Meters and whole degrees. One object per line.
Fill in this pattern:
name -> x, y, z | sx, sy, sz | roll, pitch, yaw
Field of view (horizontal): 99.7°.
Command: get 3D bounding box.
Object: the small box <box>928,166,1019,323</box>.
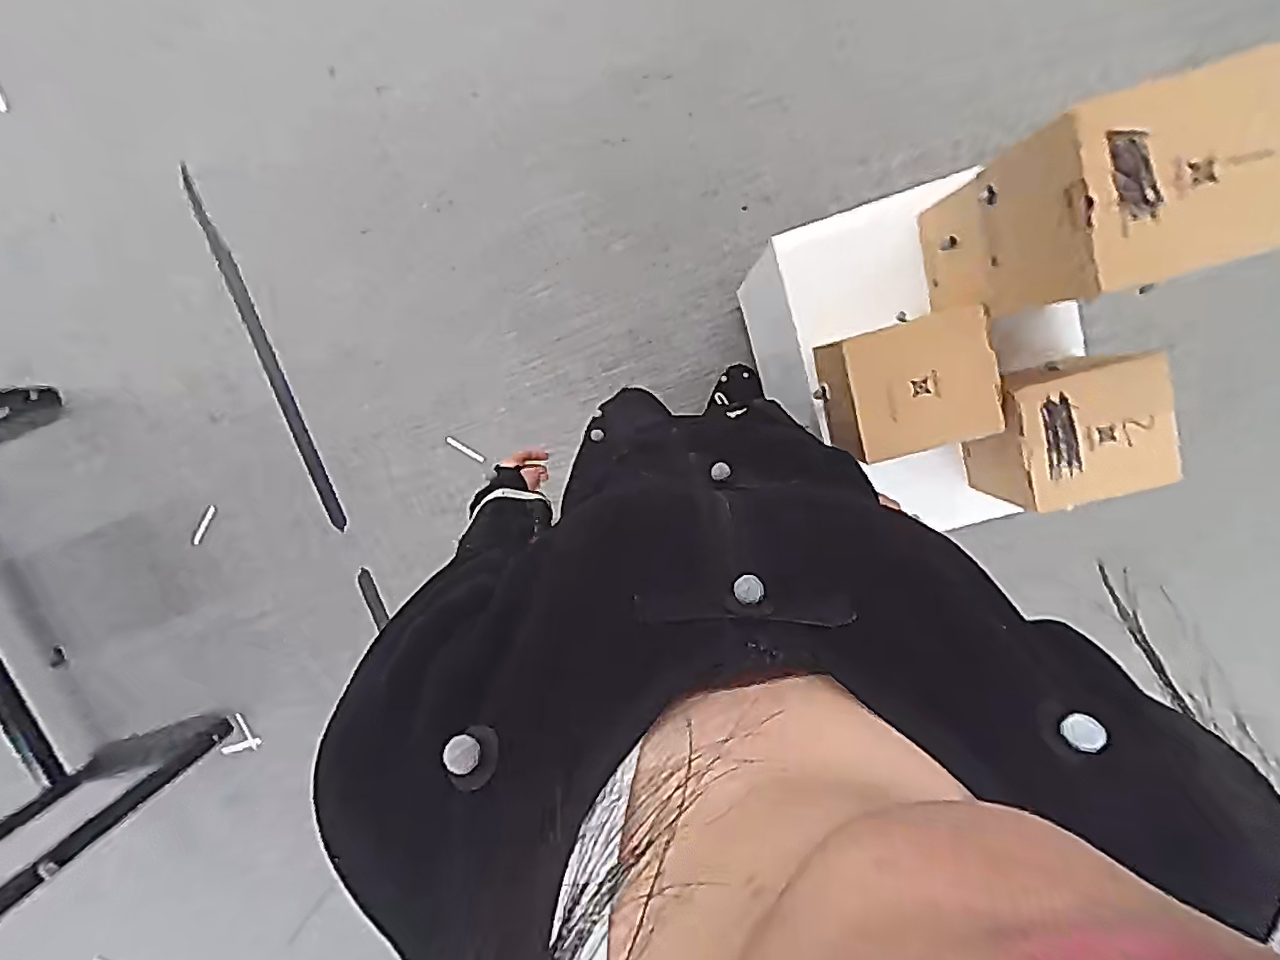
small box -> 0.498, -0.310, 0.703 | 0.179, 0.176, 0.168 | -13, 100, 7

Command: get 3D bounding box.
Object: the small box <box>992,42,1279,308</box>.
small box -> 0.485, -0.281, 0.541 | 0.179, 0.176, 0.168 | -14, 100, 6
